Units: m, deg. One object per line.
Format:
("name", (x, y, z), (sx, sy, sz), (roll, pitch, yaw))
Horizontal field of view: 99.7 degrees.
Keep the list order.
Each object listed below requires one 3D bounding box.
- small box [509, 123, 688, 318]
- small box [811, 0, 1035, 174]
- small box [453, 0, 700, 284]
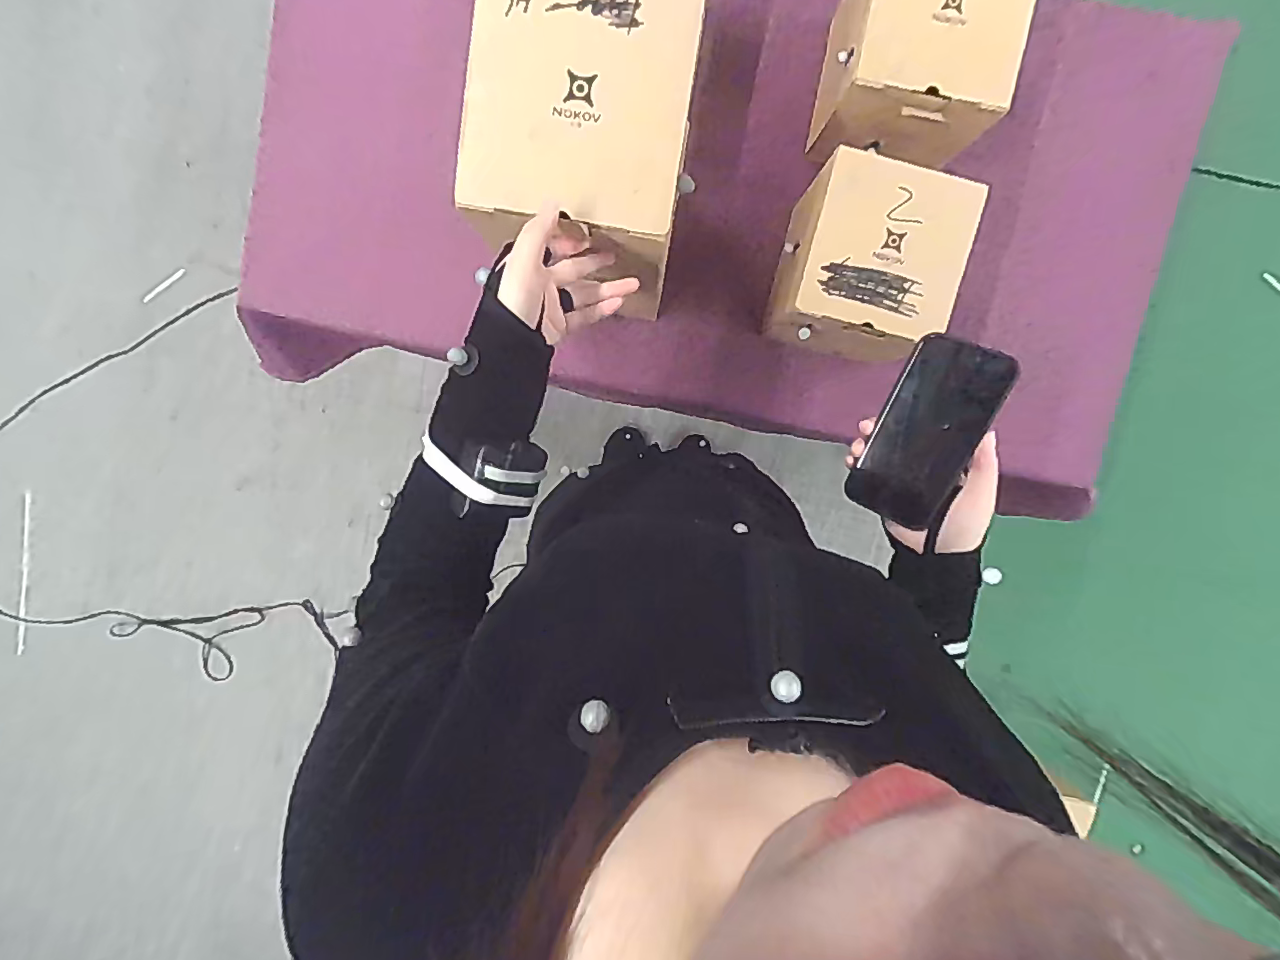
("small box", (-0.045, -0.307, 0.642), (0.168, 0.176, 0.179), (10, 96, -1))
("small box", (0.313, -0.490, 0.621), (0.168, 0.176, 0.179), (9, 98, -1))
("small box", (-0.048, -0.287, 0.478), (0.168, 0.176, 0.179), (9, 97, -1))
